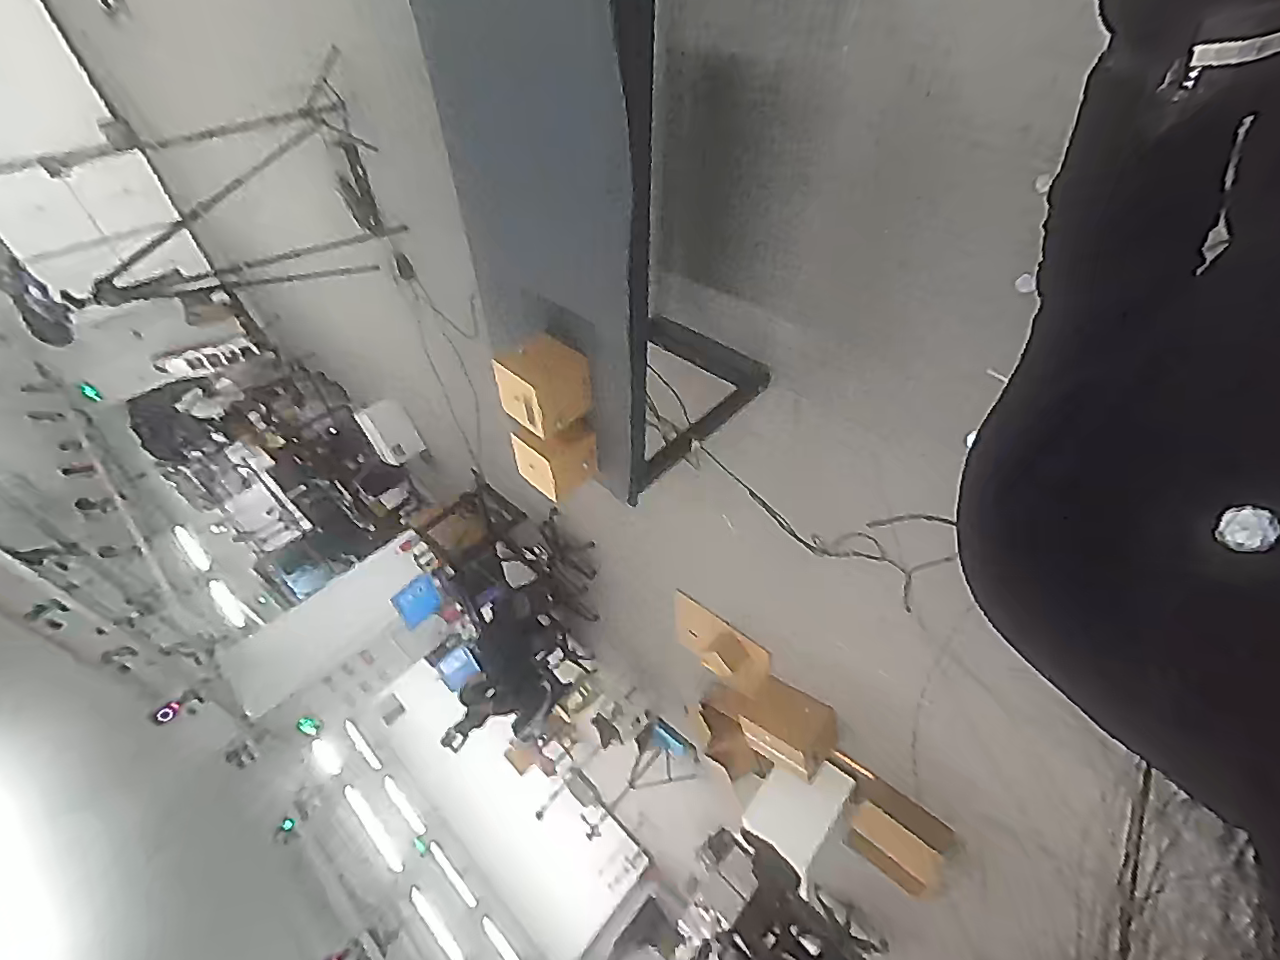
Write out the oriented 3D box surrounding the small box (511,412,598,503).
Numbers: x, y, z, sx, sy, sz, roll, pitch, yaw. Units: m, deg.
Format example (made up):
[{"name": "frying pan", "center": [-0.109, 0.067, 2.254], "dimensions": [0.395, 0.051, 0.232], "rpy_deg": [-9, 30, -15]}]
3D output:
[{"name": "small box", "center": [-0.241, -0.072, 1.552], "dimensions": [0.179, 0.176, 0.168], "rpy_deg": [34, 145, 29]}]
